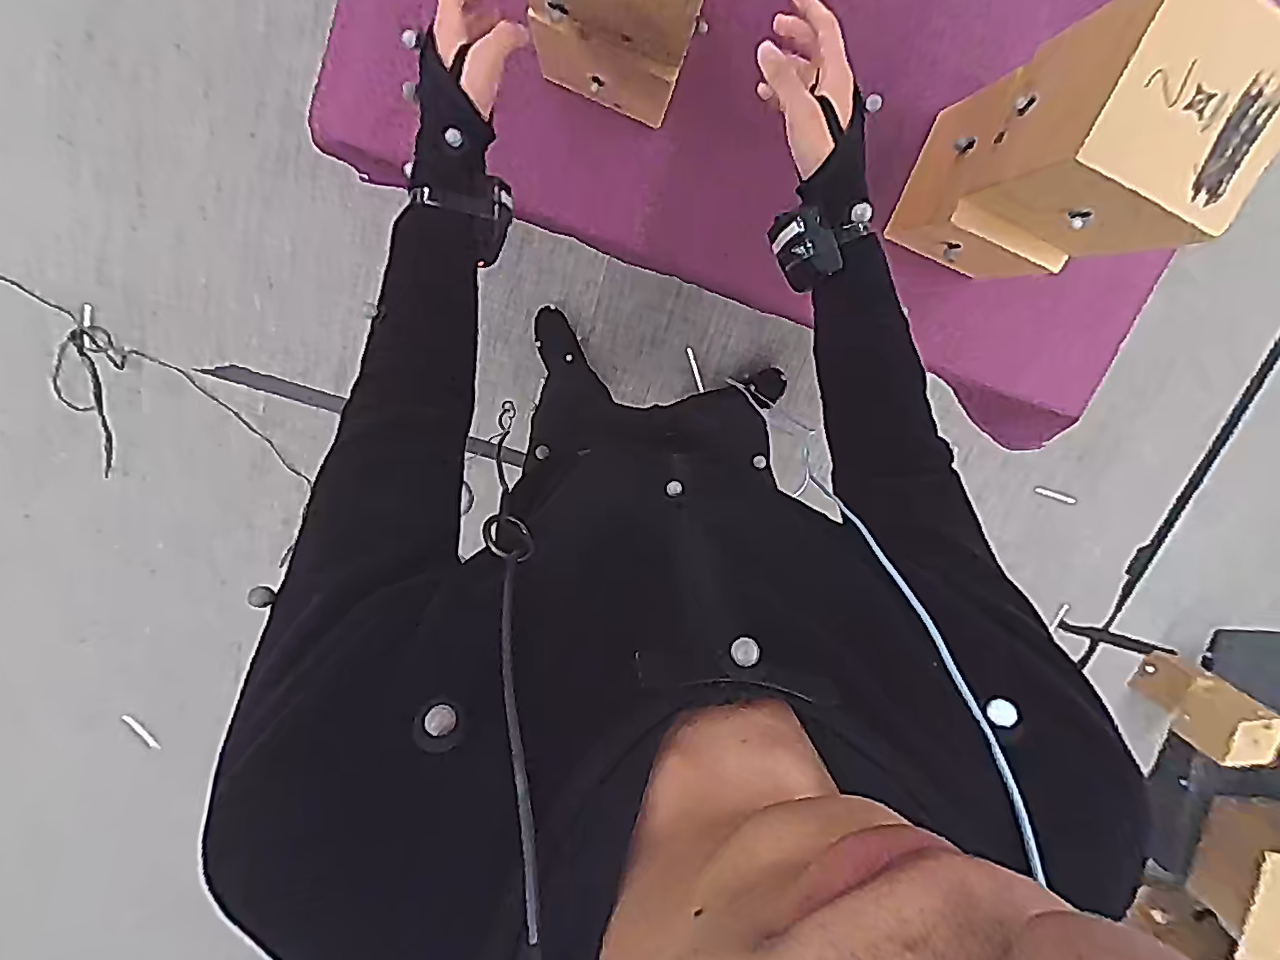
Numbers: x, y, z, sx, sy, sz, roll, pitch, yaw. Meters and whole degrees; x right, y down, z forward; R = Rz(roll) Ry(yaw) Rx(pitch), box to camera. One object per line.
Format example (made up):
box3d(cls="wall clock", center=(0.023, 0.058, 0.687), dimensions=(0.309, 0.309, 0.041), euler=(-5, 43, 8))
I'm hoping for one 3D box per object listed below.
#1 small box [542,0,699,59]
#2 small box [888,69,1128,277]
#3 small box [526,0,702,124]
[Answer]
box3d(cls="small box", center=(-0.006, -0.514, 0.466), dimensions=(0.168, 0.176, 0.179), euler=(15, 106, -9))
box3d(cls="small box", center=(0.465, -0.385, 0.720), dimensions=(0.168, 0.176, 0.179), euler=(19, 105, -10))
box3d(cls="small box", center=(-0.018, -0.554, 0.625), dimensions=(0.168, 0.176, 0.179), euler=(19, 106, -11))
